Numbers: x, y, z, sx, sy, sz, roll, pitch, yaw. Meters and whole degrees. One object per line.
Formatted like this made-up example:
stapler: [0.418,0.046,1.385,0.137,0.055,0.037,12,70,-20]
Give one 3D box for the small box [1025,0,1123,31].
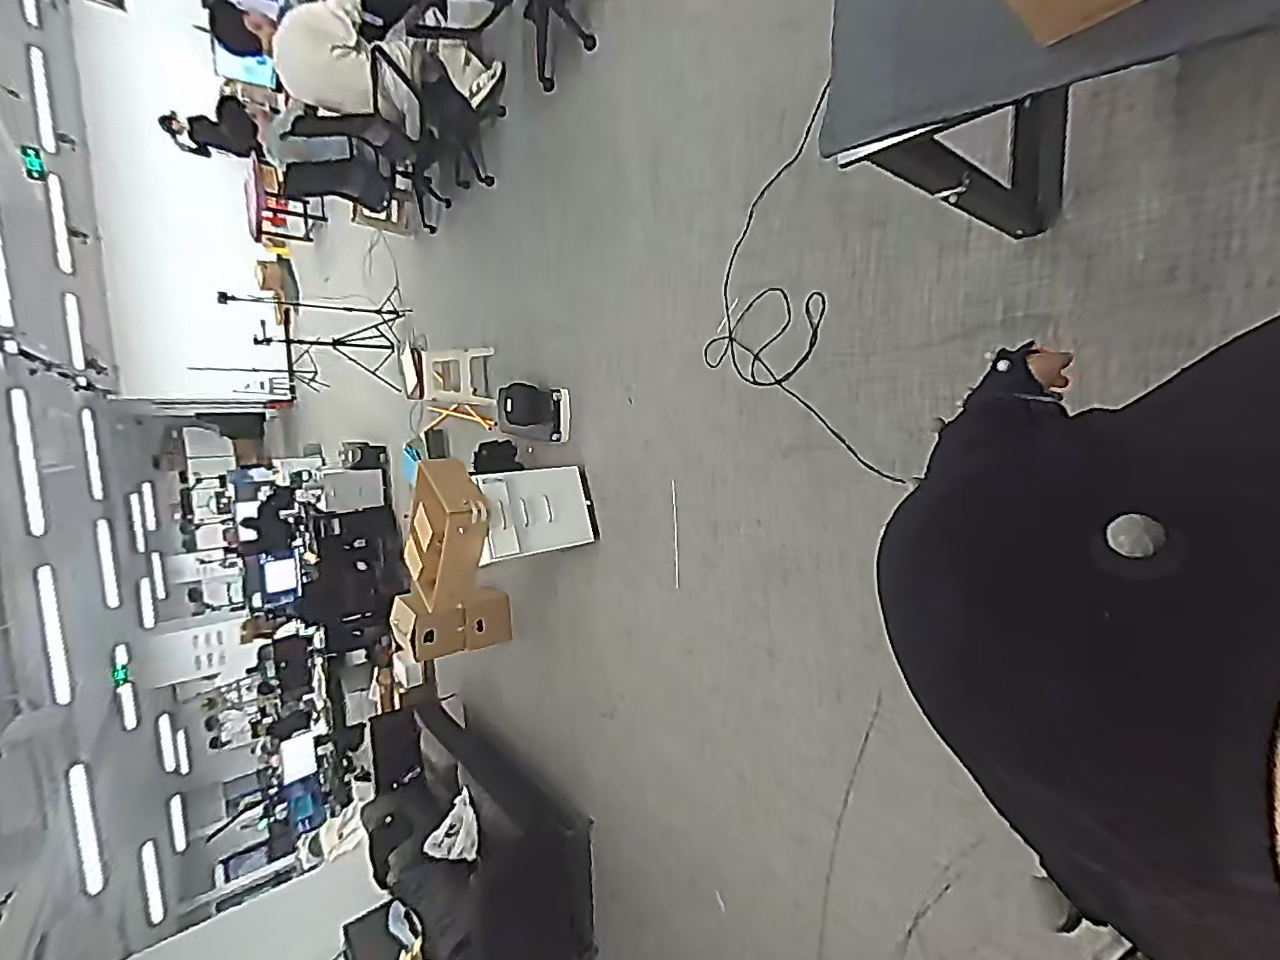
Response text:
small box: [0.448,-0.582,0.501,0.168,0.176,0.179,5,100,52]
